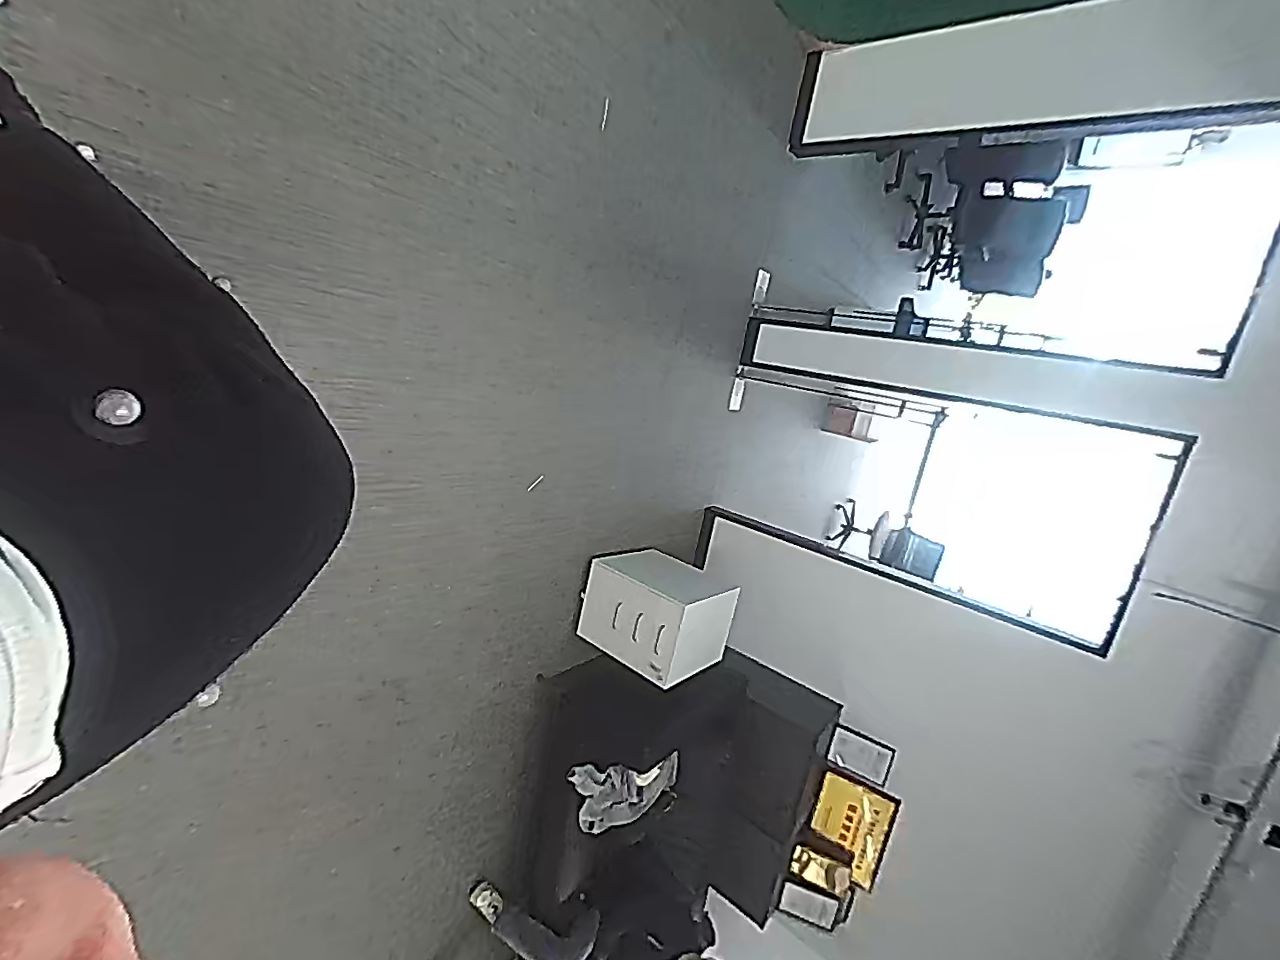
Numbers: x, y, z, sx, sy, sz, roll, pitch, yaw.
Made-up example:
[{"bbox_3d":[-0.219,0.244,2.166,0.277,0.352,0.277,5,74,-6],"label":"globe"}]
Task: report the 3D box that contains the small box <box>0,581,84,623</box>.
[{"bbox_3d":[-1.264,0.339,1.117,0.179,0.176,0.168,-35,134,-43],"label":"small box"}]
